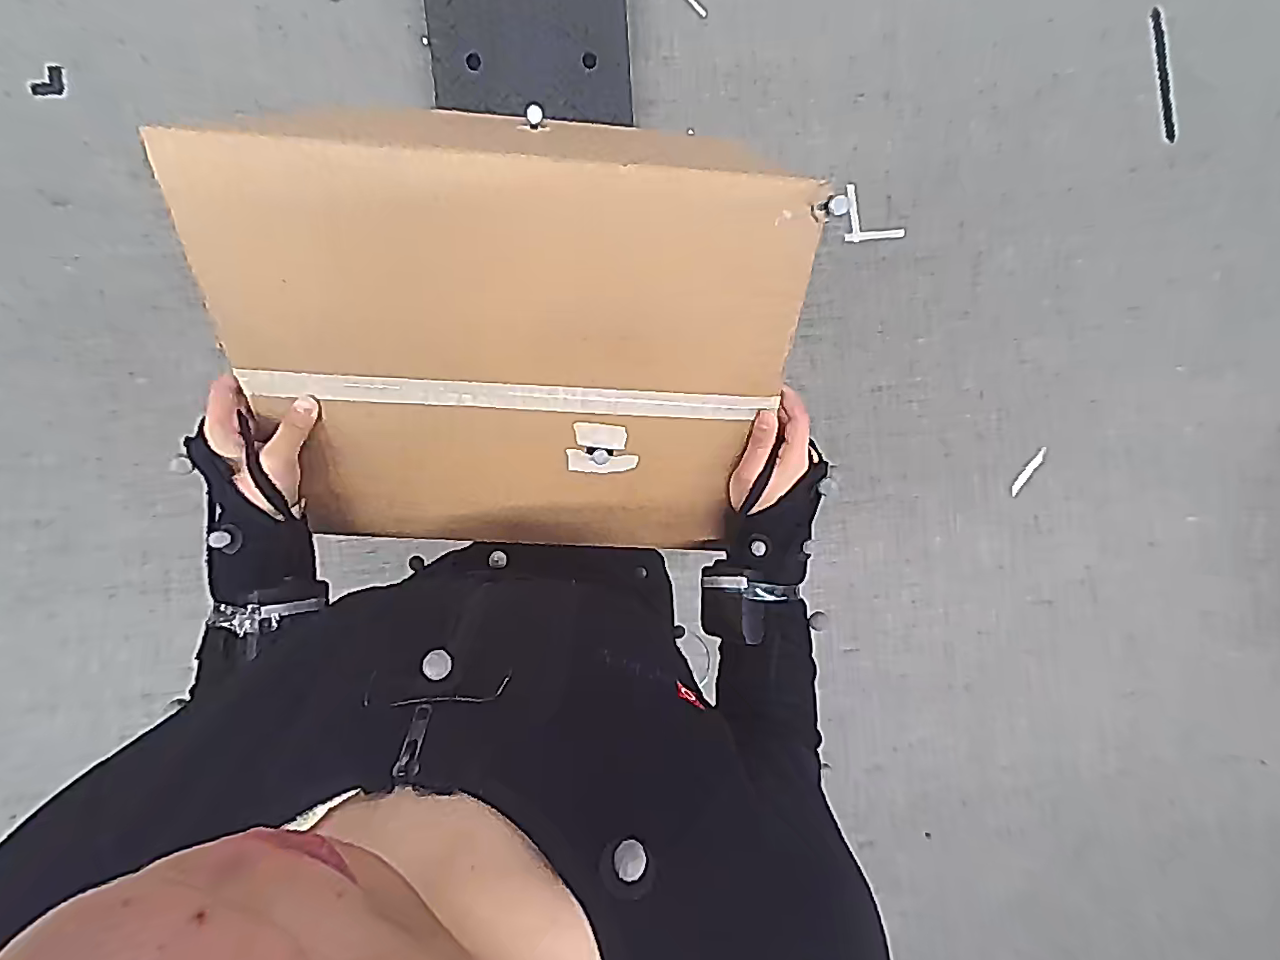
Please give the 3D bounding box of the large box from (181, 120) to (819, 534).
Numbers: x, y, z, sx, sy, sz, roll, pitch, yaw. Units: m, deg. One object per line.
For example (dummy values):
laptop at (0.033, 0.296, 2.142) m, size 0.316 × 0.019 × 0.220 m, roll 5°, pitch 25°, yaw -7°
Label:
large box at (-0.096, -0.162, 0.543) m, size 0.408 × 0.320 × 0.320 m, roll 2°, pitch 128°, yaw -4°
